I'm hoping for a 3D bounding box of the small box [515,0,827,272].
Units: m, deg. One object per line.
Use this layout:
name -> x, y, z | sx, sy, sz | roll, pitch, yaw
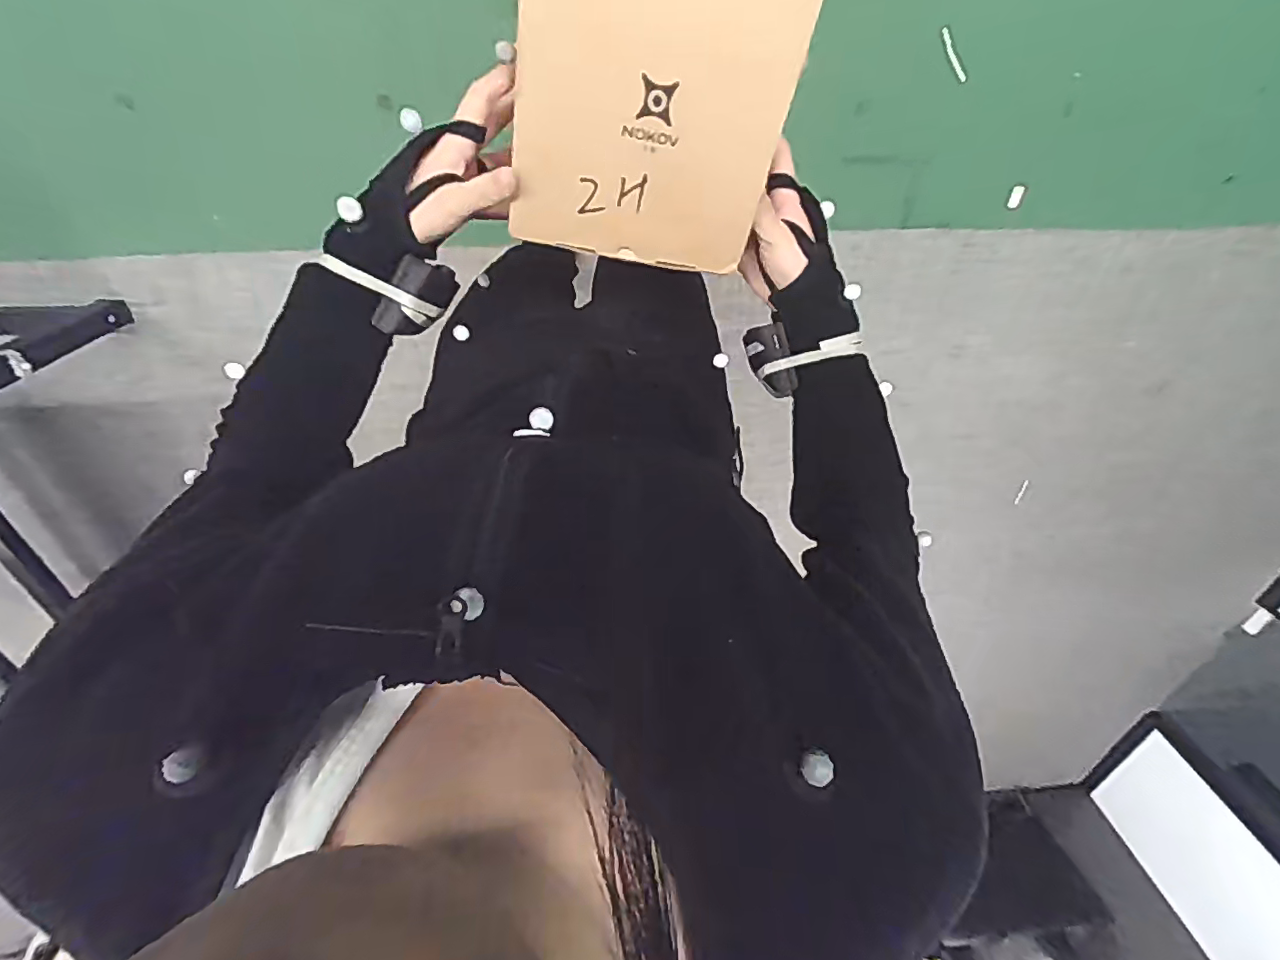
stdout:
small box -> 0.003, -0.281, 0.391 | 0.168, 0.176, 0.179 | 6, 131, -12
